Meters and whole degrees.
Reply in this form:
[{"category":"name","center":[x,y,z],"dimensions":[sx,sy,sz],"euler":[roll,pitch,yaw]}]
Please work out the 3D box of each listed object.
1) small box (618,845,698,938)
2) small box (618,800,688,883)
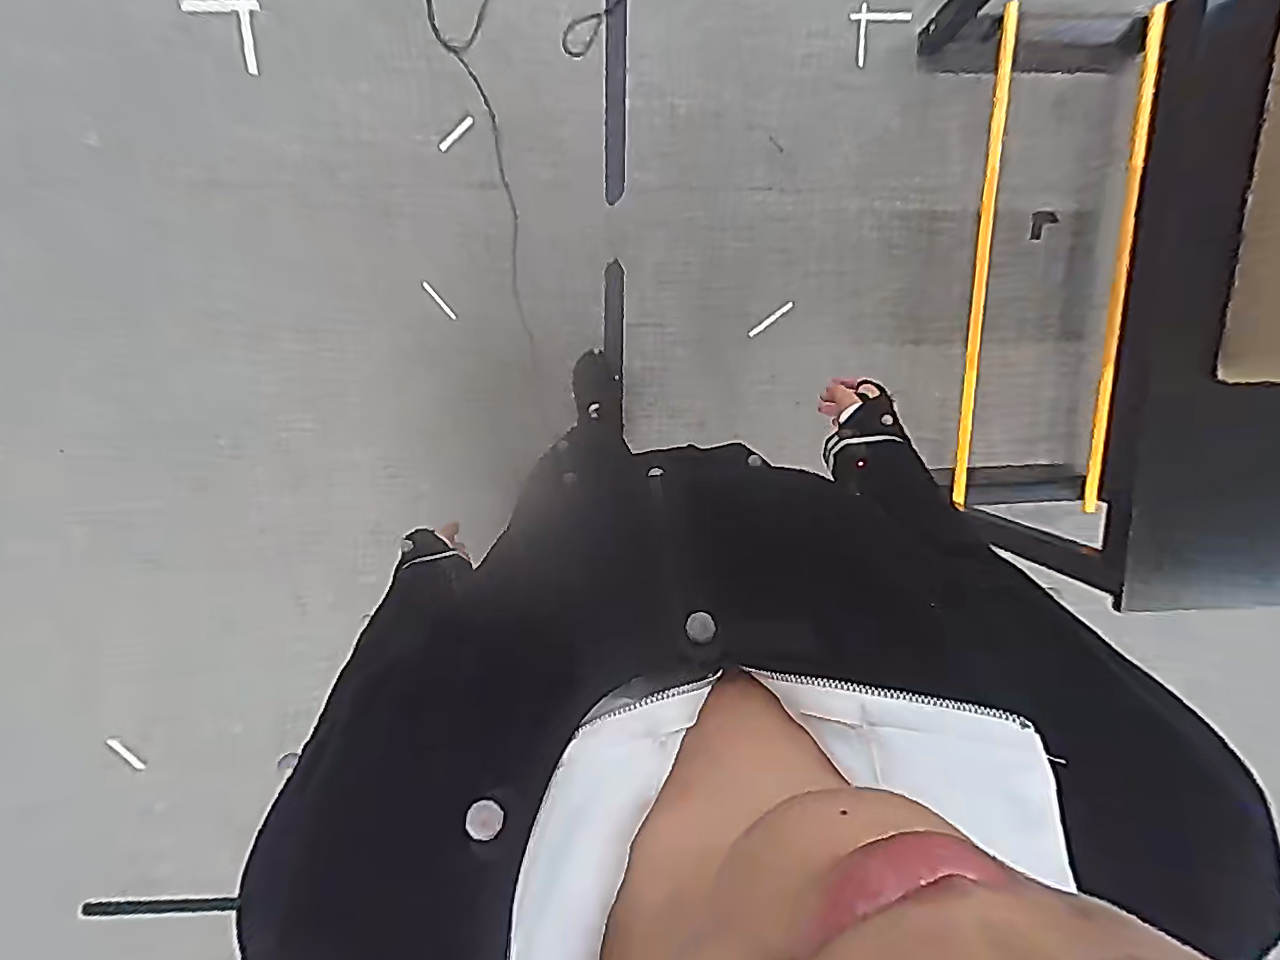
[{"category":"small box","center":[0.035,0.991,1.250],"dimensions":[0.168,0.176,0.179],"euler":[3,99,-4]},{"category":"small box","center":[0.028,0.977,1.412],"dimensions":[0.168,0.176,0.179],"euler":[3,99,-3]}]
